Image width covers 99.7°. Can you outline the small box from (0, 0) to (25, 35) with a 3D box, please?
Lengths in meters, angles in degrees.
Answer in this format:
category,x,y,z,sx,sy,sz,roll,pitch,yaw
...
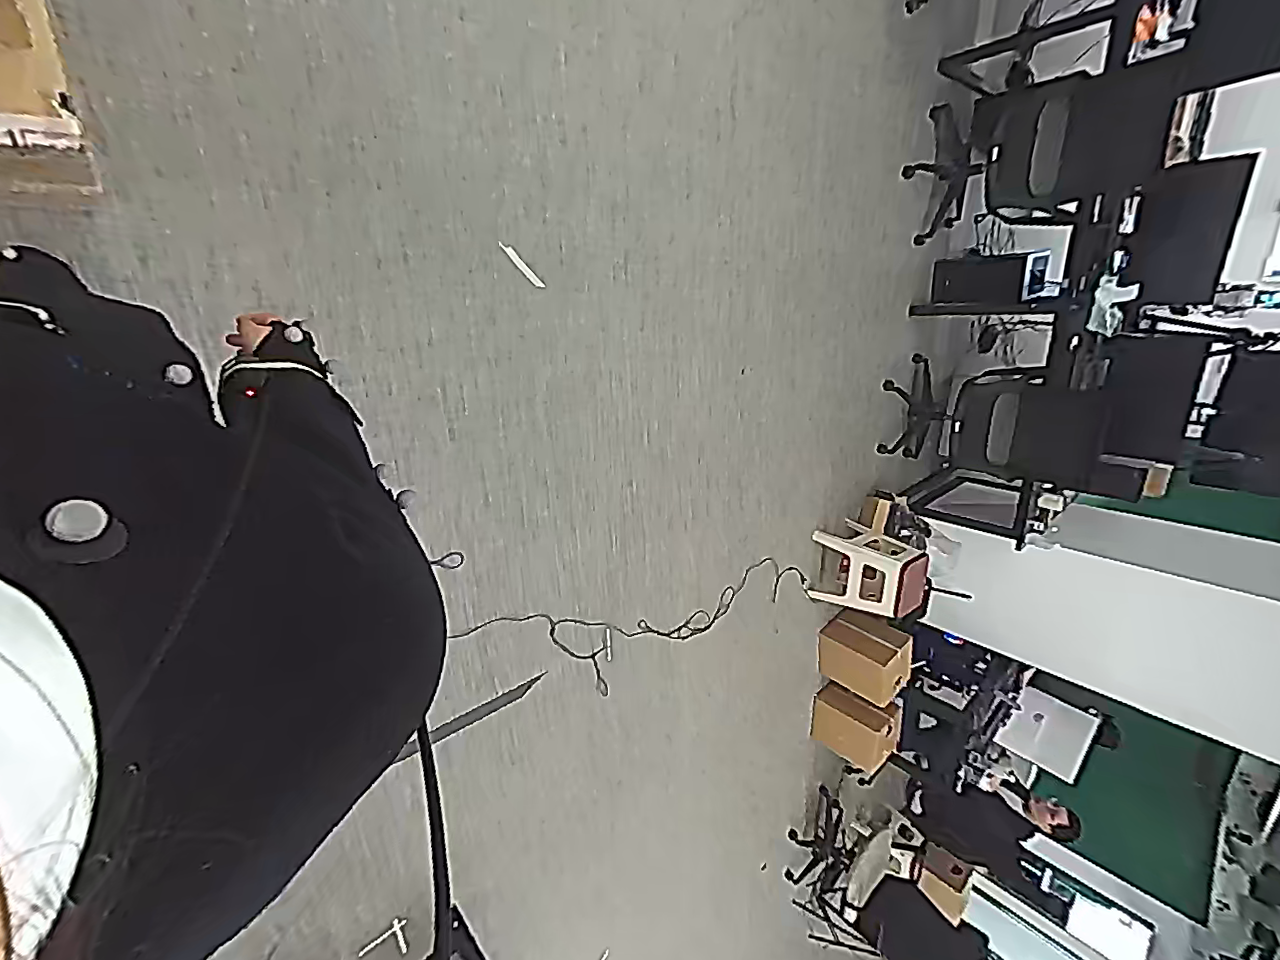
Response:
category,x,y,z,sx,sy,sz,roll,pitch,yaw
small box,-0.633,-0.494,0.422,0.179,0.176,0.168,-11,112,-43
